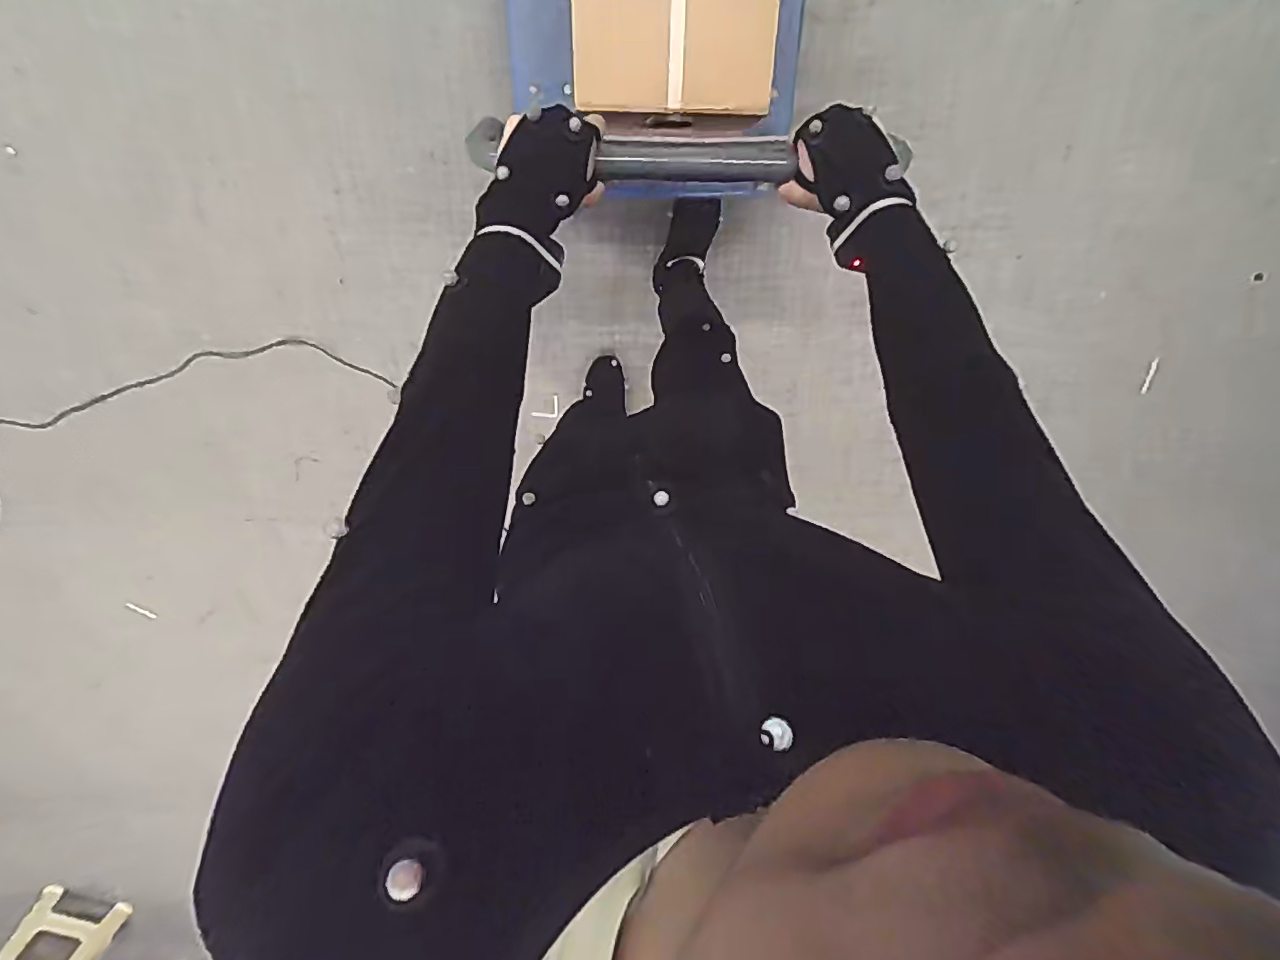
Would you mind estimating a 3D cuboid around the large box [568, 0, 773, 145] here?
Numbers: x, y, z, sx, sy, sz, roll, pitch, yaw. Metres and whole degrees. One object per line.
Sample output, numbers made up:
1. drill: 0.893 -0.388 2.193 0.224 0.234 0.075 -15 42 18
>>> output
1. large box: 0.044 -0.830 0.927 0.320 0.320 0.408 0 114 -2
